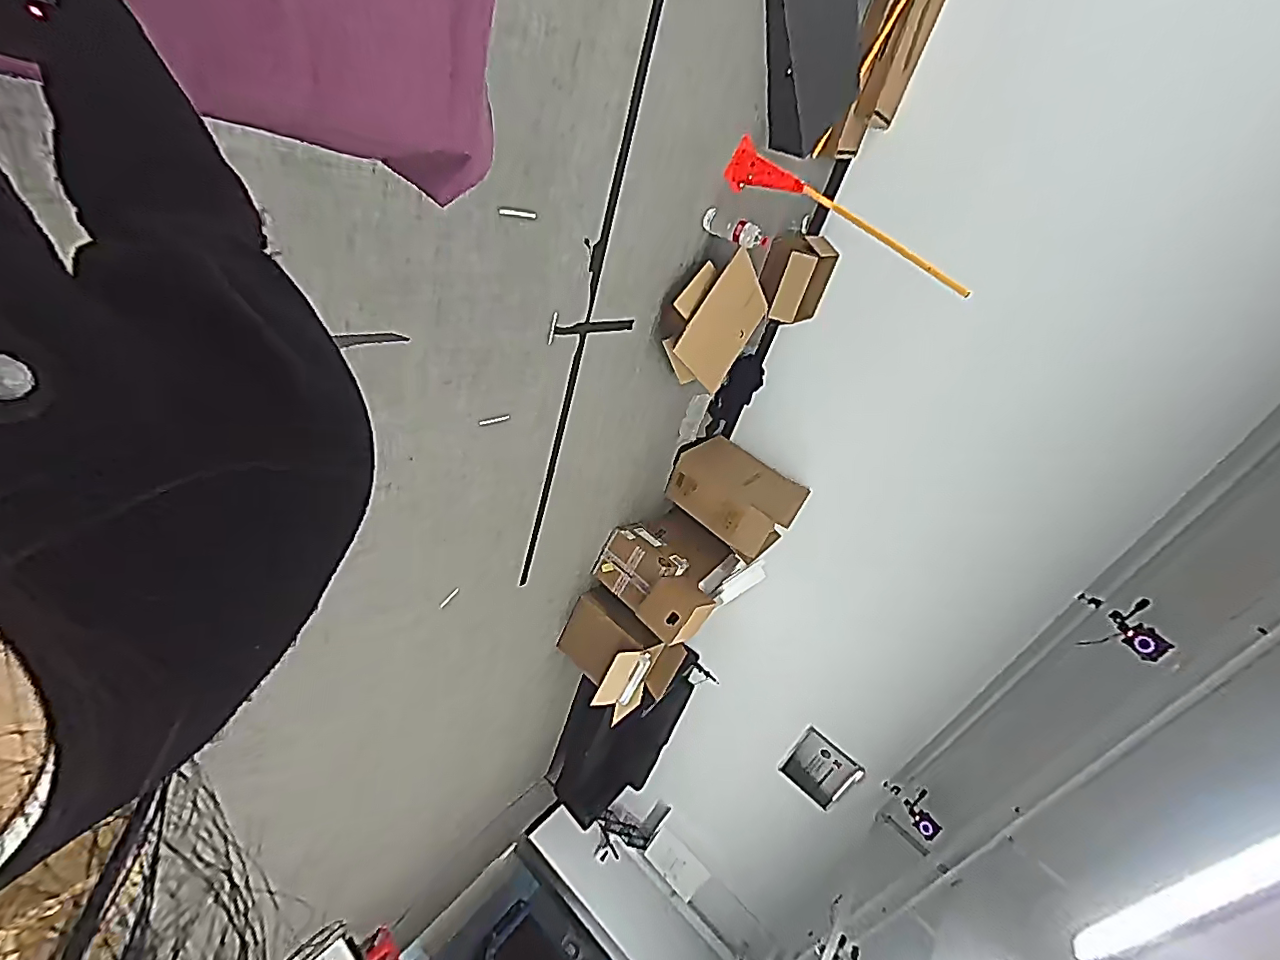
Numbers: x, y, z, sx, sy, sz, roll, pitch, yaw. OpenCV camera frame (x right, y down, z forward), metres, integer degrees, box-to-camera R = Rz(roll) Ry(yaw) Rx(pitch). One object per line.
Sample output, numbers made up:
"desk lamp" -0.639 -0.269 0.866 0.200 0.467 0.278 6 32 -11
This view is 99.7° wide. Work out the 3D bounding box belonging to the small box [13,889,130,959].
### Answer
"small box" -1.587 1.308 1.514 0.179 0.176 0.168 -24 140 -47
